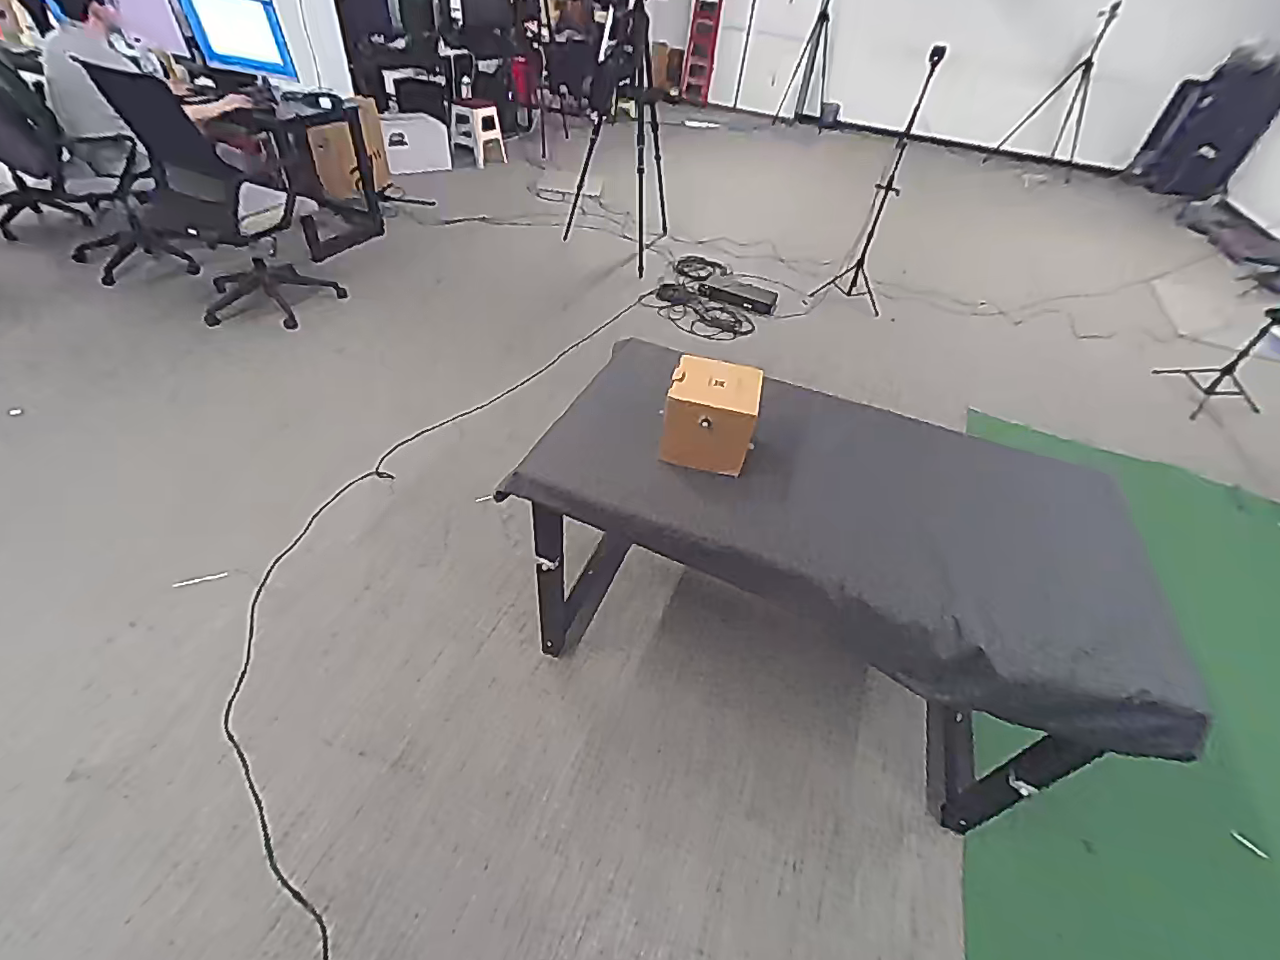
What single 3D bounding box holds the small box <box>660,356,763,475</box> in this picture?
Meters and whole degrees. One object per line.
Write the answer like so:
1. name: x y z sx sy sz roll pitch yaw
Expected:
1. small box: 0.146 -0.132 1.133 0.179 0.176 0.168 14 45 5
